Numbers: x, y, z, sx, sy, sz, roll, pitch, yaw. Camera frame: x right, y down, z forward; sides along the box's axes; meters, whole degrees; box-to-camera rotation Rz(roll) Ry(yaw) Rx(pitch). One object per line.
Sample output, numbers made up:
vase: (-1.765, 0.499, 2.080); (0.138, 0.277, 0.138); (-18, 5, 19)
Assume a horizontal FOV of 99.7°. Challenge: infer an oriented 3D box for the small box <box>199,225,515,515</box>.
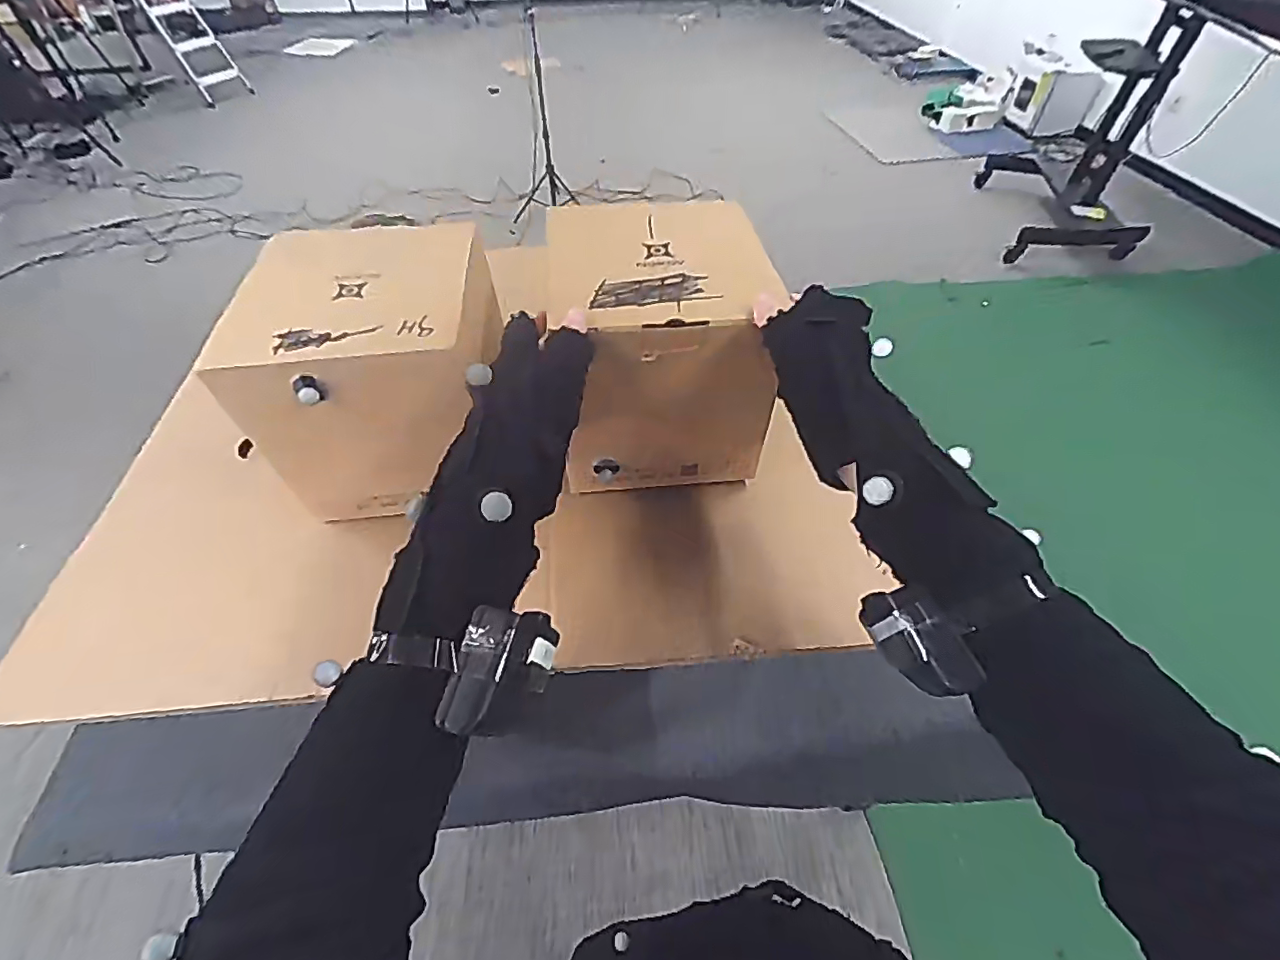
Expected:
small box: (-0.207, -0.092, 0.462); (0.168, 0.176, 0.179); (-6, 50, -2)
